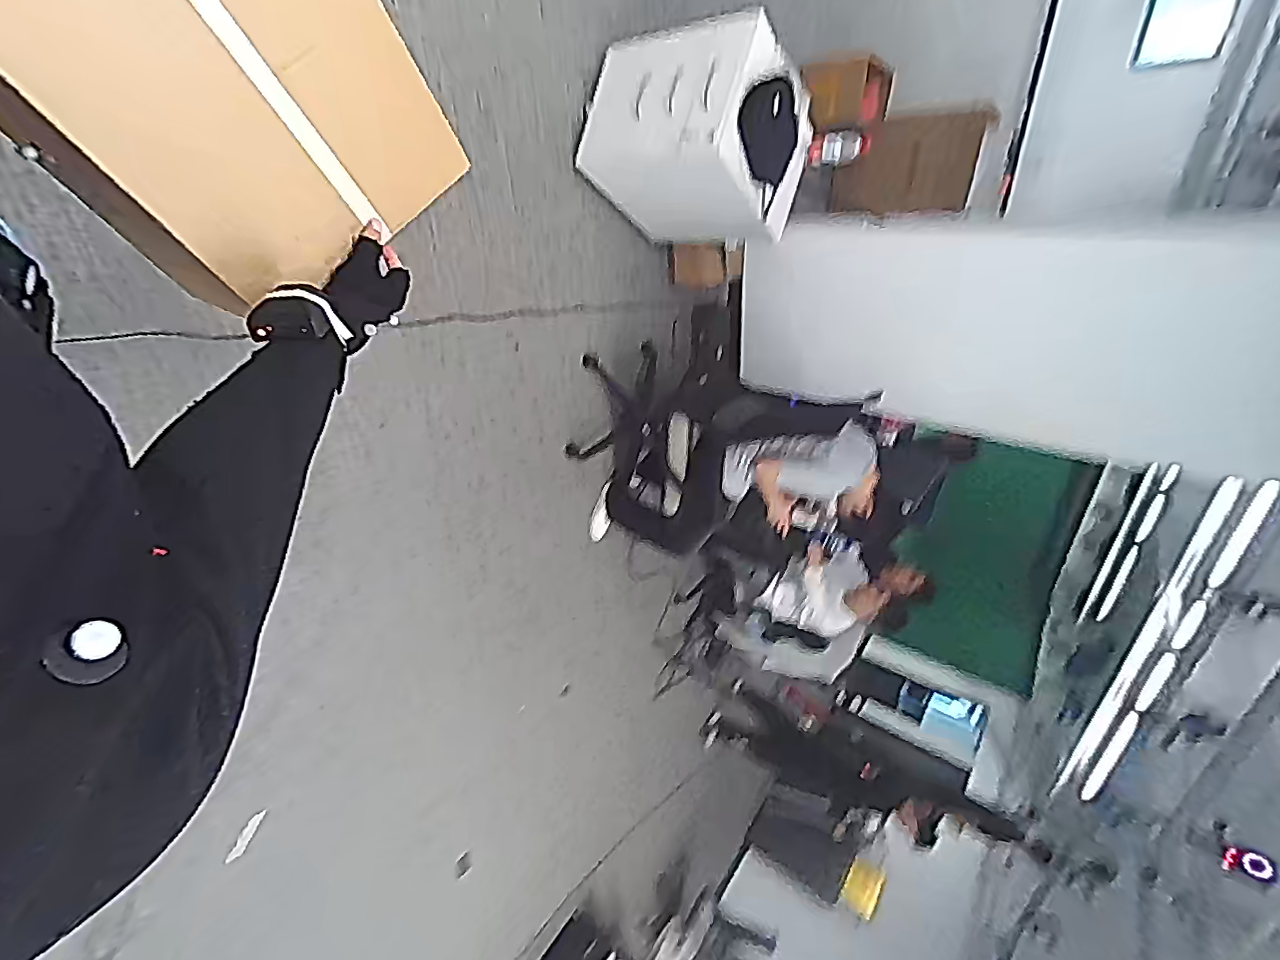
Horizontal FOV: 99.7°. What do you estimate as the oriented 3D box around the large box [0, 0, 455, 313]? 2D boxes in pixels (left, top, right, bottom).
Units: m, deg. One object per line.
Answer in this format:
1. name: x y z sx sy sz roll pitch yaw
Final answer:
1. large box: -0.486 -0.440 0.546 0.320 0.320 0.408 -55 144 -19
